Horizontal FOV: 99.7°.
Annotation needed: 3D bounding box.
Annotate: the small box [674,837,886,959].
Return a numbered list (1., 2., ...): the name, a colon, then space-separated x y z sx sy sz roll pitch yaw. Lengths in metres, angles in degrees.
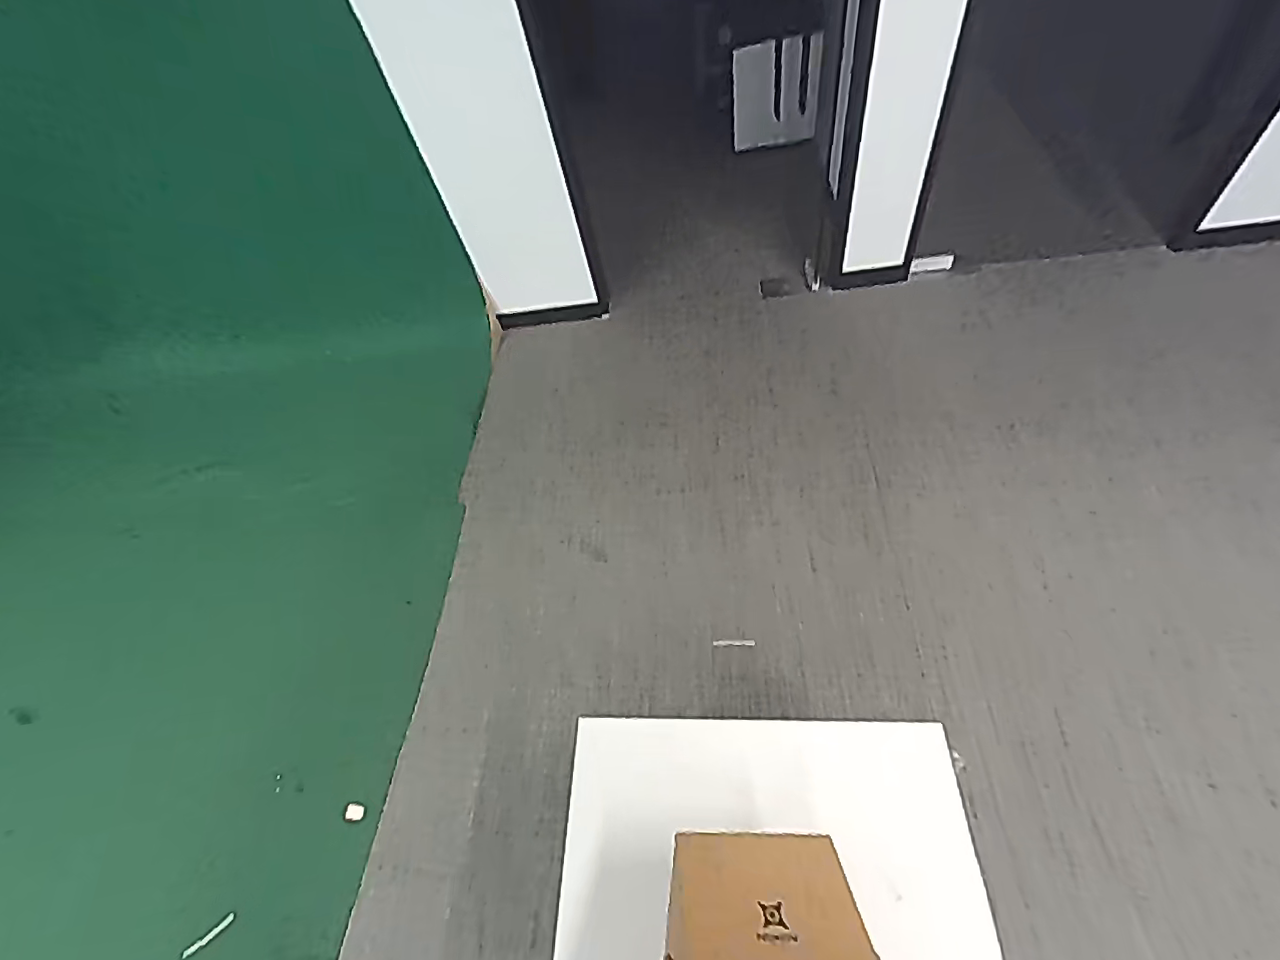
1. small box: 0.121 0.469 0.494 0.168 0.176 0.179 1 14 -2
